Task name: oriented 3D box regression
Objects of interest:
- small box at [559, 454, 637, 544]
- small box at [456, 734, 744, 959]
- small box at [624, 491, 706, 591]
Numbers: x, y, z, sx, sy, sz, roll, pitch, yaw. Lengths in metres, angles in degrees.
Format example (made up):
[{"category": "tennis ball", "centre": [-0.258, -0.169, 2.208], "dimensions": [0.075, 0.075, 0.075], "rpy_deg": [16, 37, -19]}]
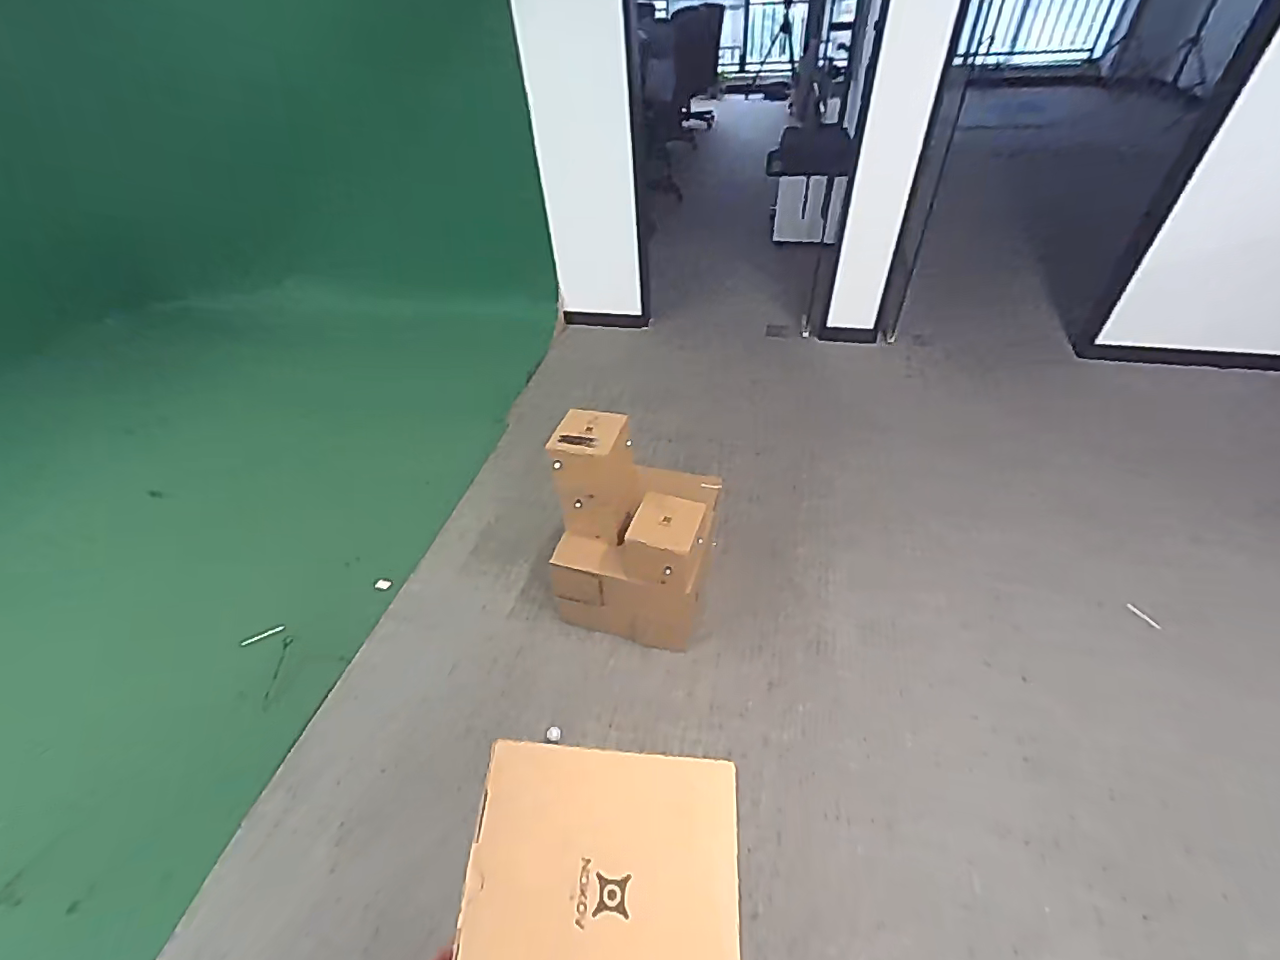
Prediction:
[{"category": "small box", "centre": [-0.112, 0.053, 1.543], "dimensions": [0.168, 0.176, 0.179], "rpy_deg": [11, 44, 17]}, {"category": "small box", "centre": [-0.028, 0.299, 0.413], "dimensions": [0.179, 0.176, 0.168], "rpy_deg": [6, 58, -2]}, {"category": "small box", "centre": [0.070, 0.161, 1.413], "dimensions": [0.168, 0.176, 0.179], "rpy_deg": [14, 45, 16]}]
